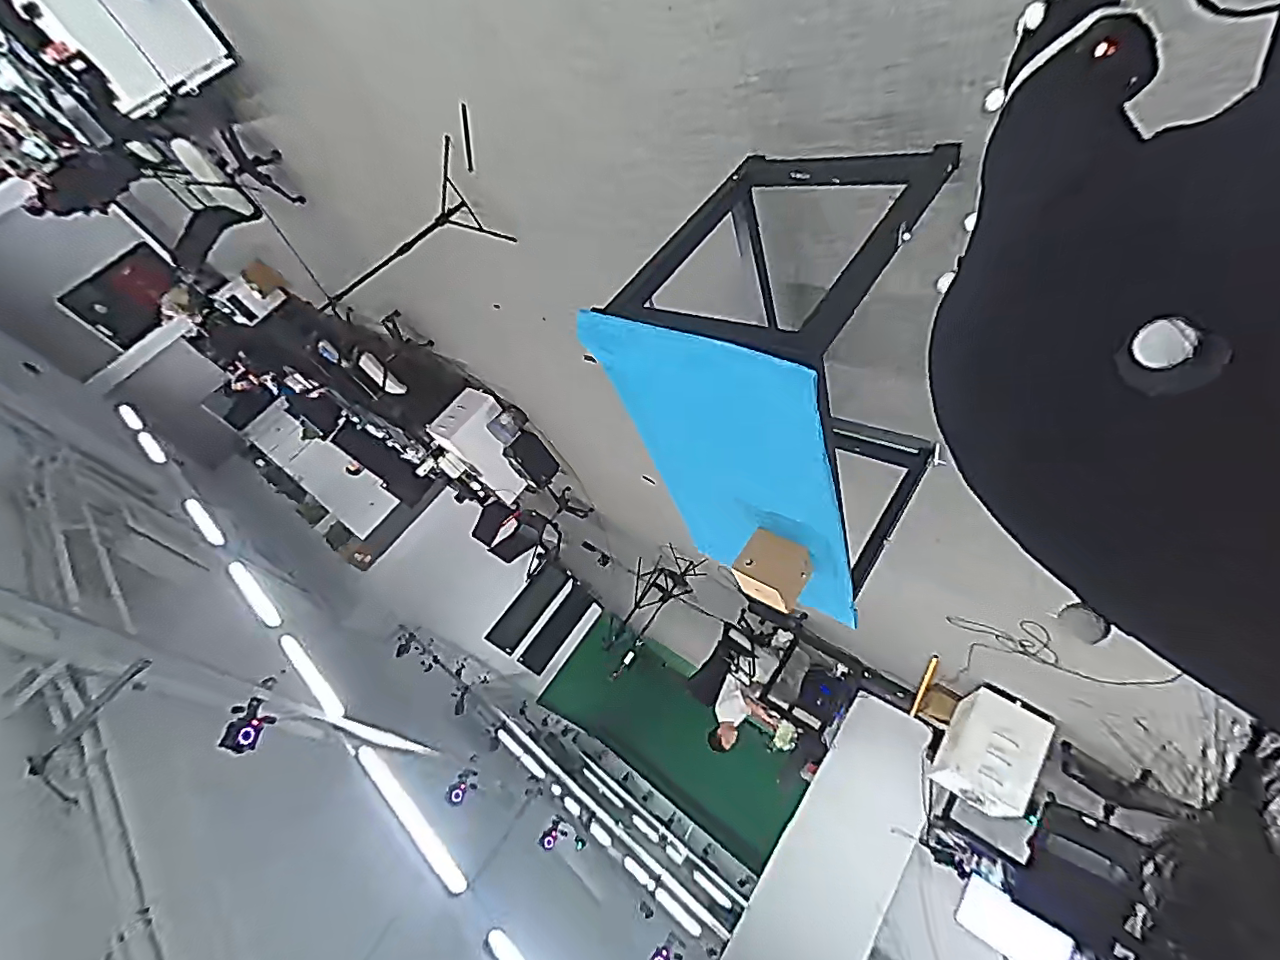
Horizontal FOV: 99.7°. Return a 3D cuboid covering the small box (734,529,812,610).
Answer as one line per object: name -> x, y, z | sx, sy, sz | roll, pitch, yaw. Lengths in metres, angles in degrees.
small box -> 0.431, 0.280, 1.738 | 0.179, 0.176, 0.168 | 22, 157, 34
